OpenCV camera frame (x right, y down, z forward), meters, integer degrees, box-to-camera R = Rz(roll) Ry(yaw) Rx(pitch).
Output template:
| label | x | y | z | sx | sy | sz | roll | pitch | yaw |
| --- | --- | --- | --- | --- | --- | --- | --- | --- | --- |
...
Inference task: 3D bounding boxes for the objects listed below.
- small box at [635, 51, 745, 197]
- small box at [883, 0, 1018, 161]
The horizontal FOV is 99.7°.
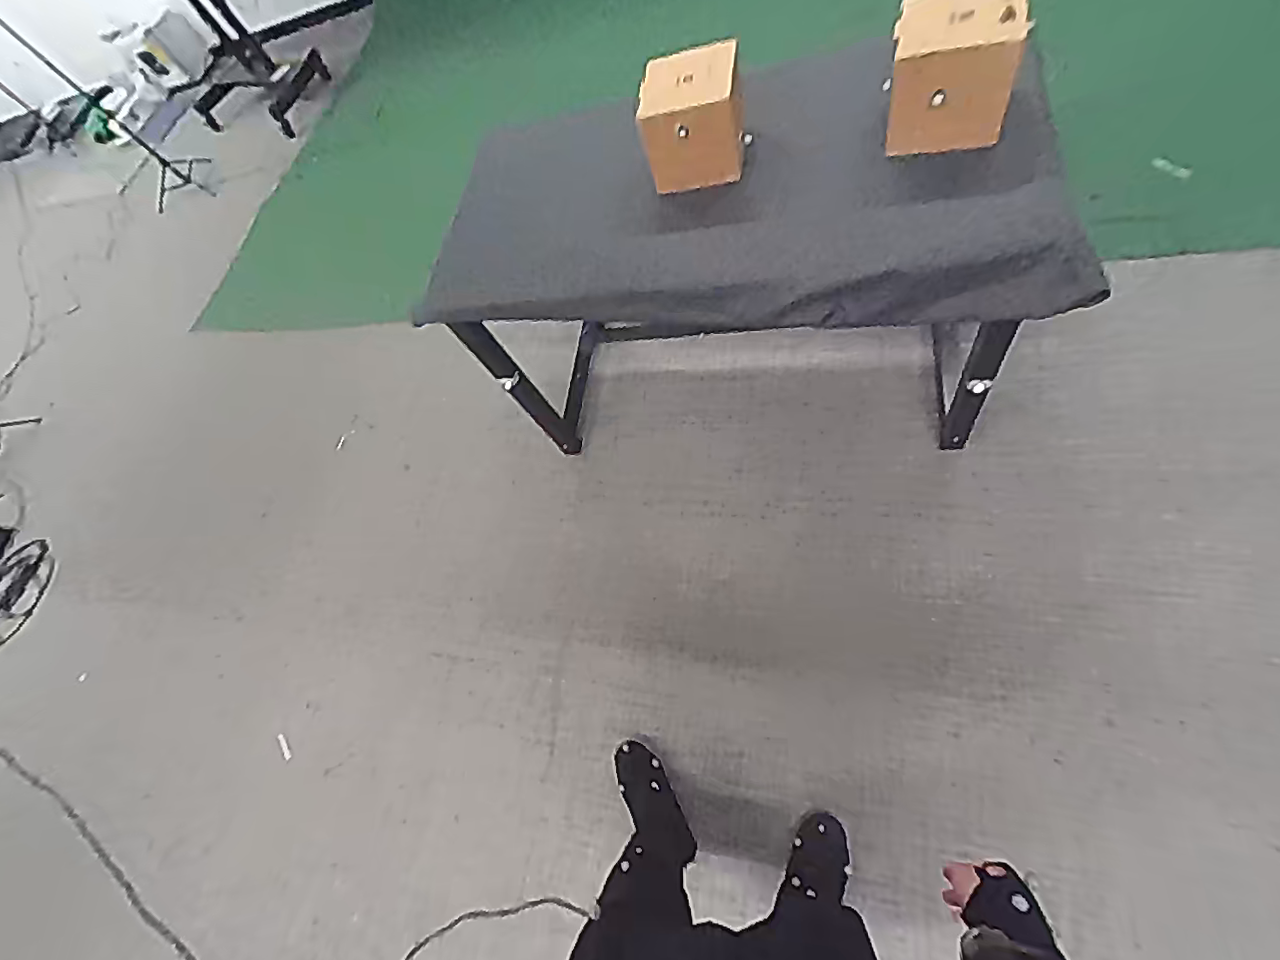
| label | x | y | z | sx | sy | sz | roll | pitch | yaw |
| --- | --- | --- | --- | --- | --- | --- | --- | --- | --- |
| small box | 0.105 | -0.689 | 1.066 | 0.179 | 0.176 | 0.168 | 1 | 67 | 18 |
| small box | 0.515 | -0.674 | 0.916 | 0.179 | 0.176 | 0.168 | 6 | 68 | 22 |
